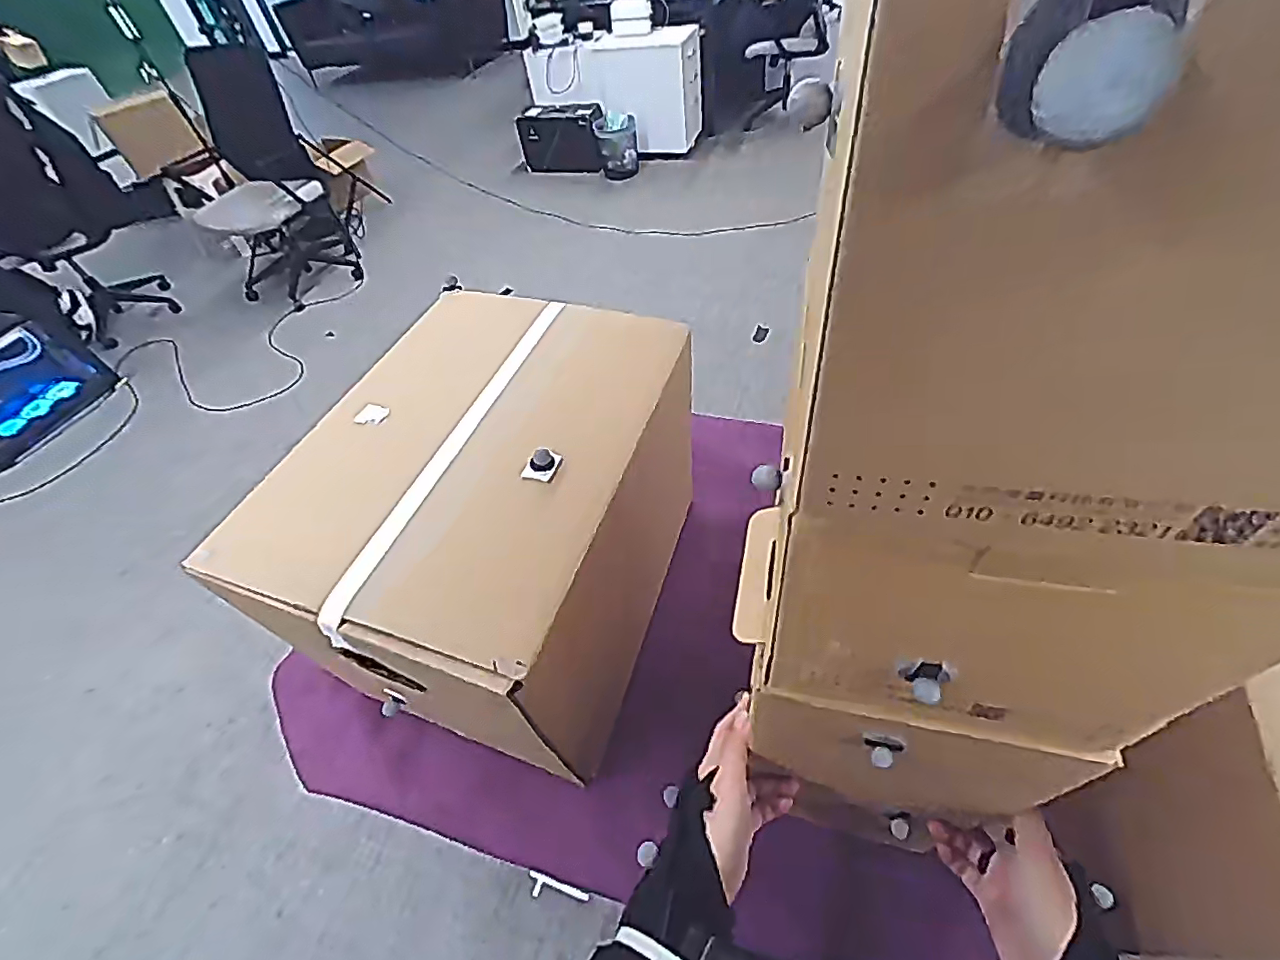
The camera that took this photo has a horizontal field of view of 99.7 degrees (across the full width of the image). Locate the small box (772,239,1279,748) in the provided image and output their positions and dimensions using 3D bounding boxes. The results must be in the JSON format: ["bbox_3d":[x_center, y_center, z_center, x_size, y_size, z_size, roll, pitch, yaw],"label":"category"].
[{"bbox_3d":[0.158,0.004,0.266,0.168,0.176,0.179,6,51,14],"label":"small box"}]
